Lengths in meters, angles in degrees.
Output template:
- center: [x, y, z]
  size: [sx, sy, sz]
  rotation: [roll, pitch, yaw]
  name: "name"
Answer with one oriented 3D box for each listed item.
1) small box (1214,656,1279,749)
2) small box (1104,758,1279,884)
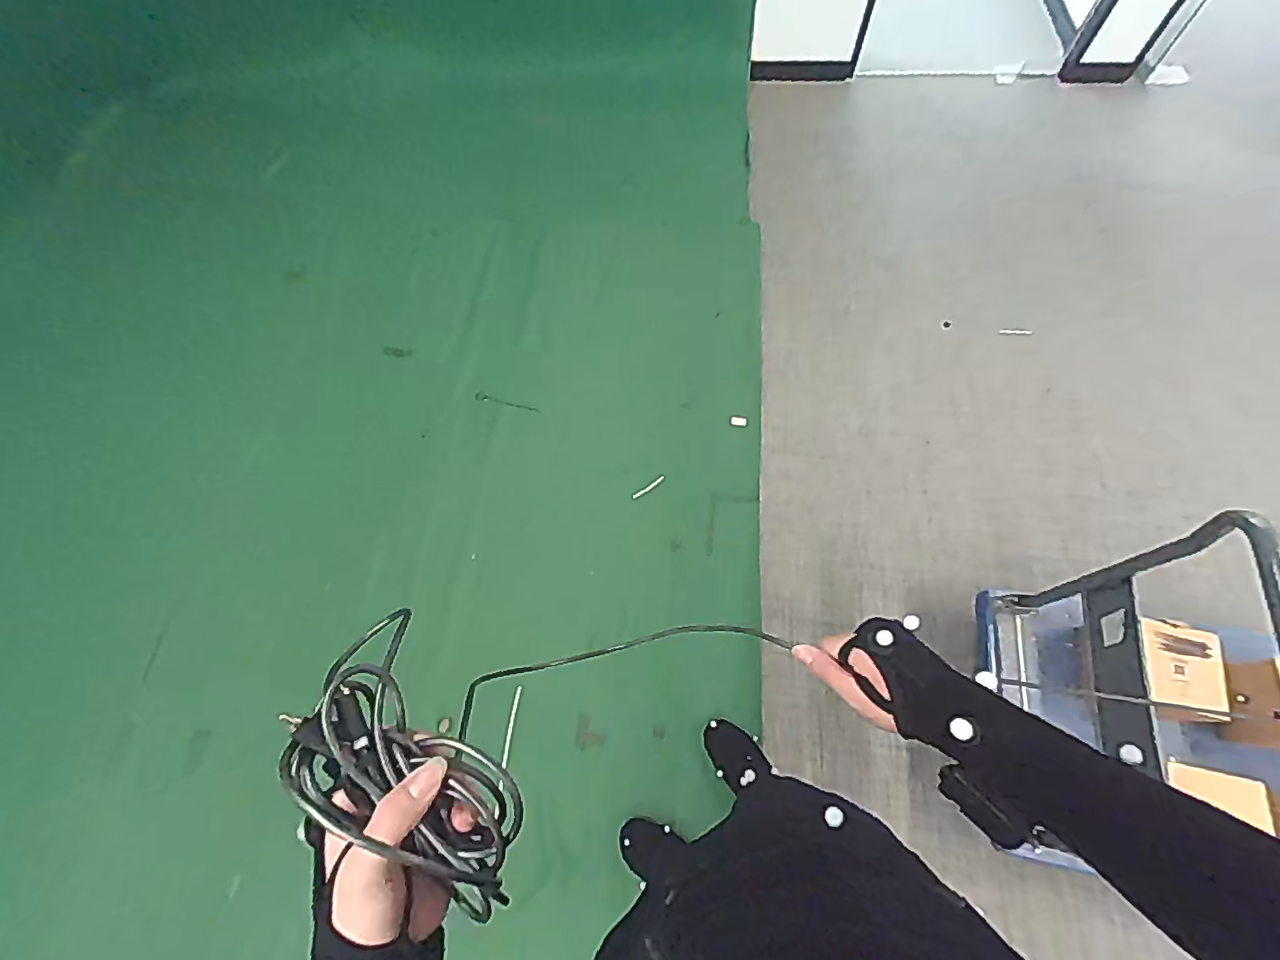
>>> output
- center: [1.371, 0.474, 1.130]
  size: [0.179, 0.176, 0.168]
  rotation: [6, 67, 5]
  name: "small box"
- center: [1.073, 0.656, 1.063]
  size: [0.179, 0.176, 0.168]
  rotation: [10, 66, 8]
  name: "small box"
